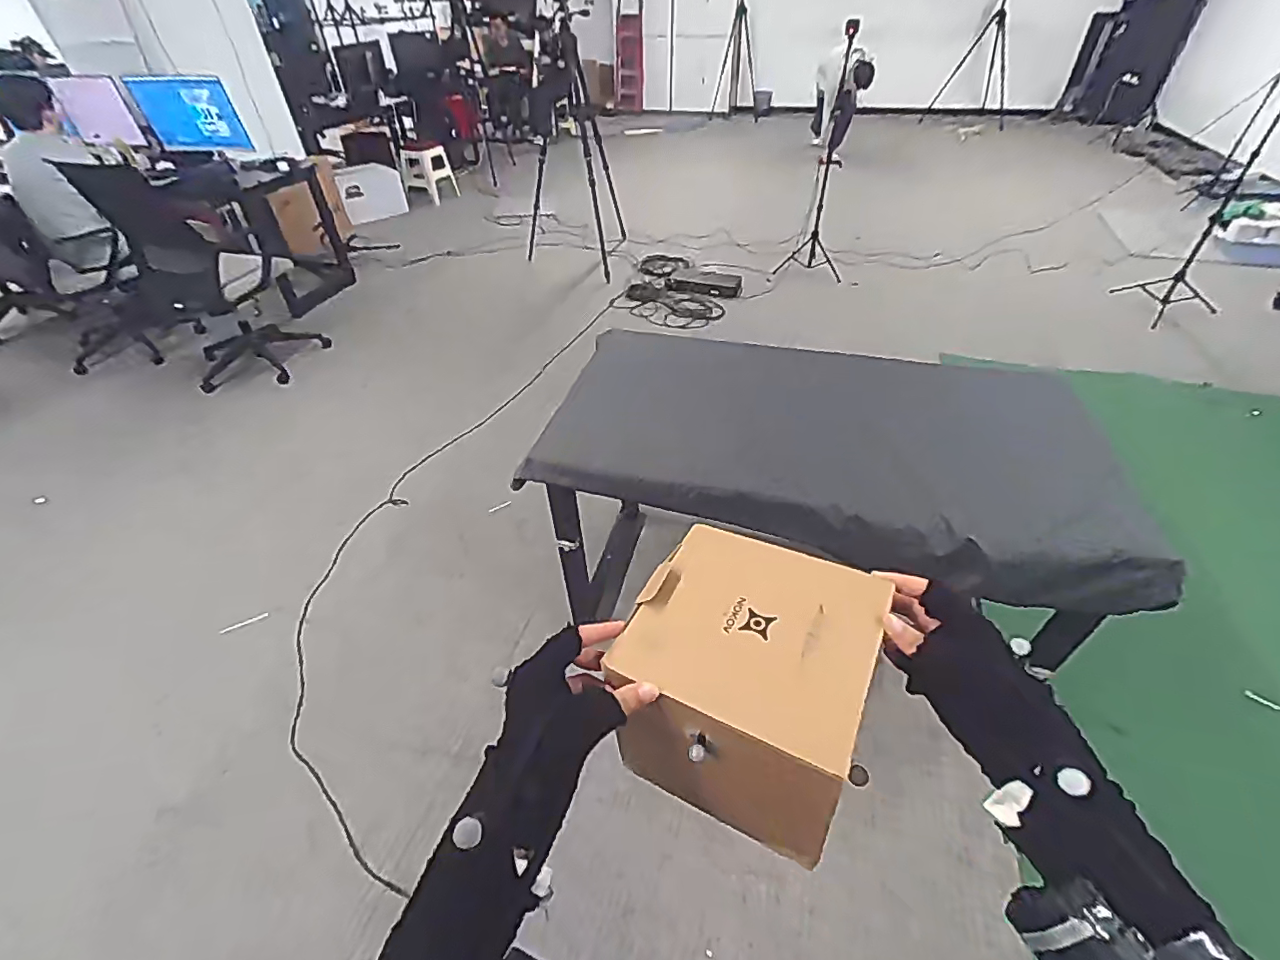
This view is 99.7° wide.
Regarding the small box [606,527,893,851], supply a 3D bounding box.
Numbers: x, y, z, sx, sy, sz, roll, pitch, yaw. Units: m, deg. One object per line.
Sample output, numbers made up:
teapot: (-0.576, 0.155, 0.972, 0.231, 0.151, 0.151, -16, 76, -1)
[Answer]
small box: (0.093, 0.172, 0.460, 0.179, 0.176, 0.168, 16, 44, 24)
